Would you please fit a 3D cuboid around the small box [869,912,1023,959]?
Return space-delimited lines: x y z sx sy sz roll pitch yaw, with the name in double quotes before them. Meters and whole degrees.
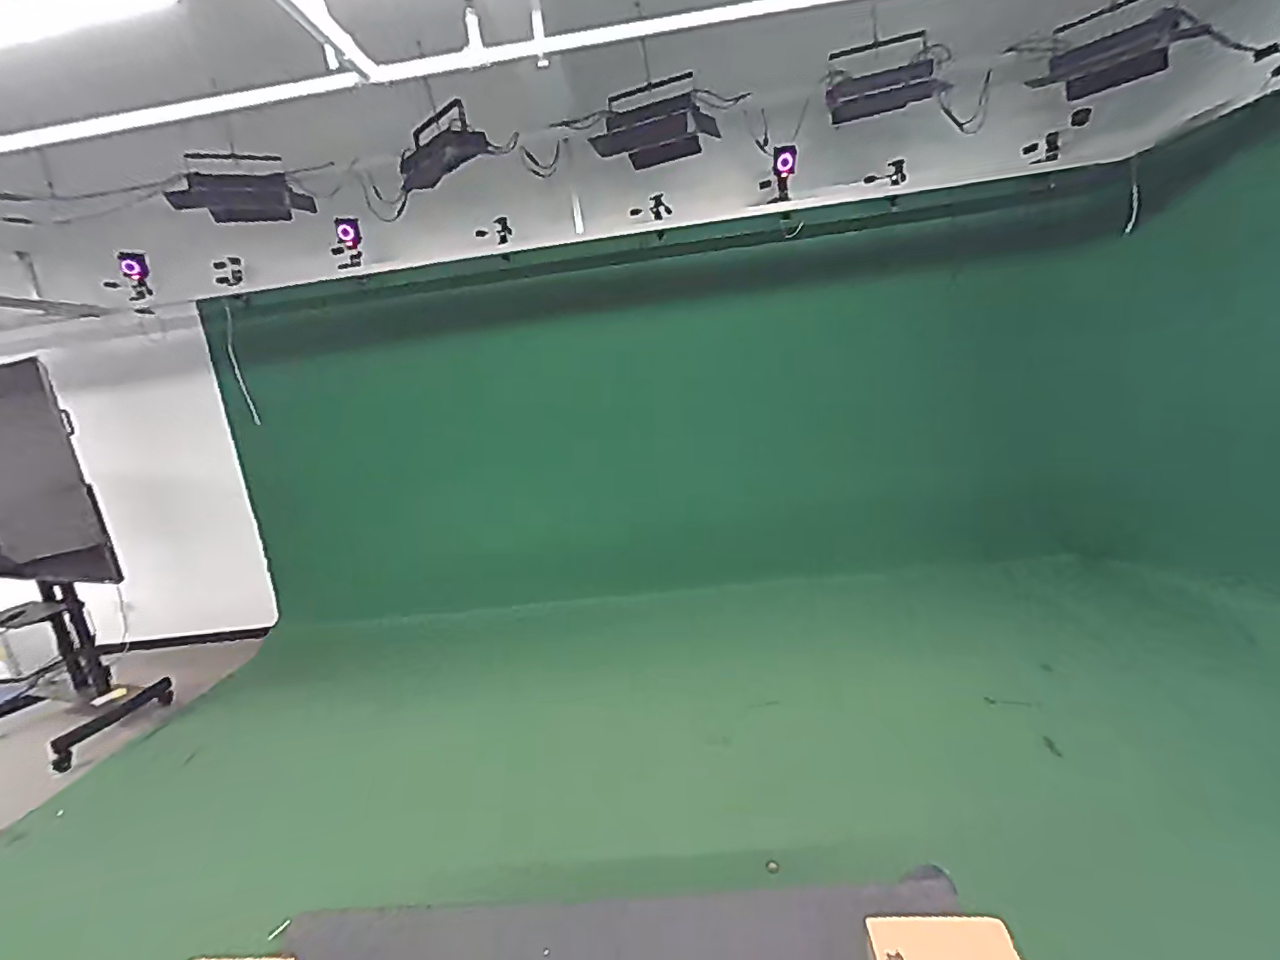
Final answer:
"small box" 0.396 0.687 0.671 0.179 0.176 0.168 -6 12 9

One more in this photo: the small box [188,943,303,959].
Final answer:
"small box" -0.576 0.787 0.738 0.179 0.176 0.168 -6 9 8
